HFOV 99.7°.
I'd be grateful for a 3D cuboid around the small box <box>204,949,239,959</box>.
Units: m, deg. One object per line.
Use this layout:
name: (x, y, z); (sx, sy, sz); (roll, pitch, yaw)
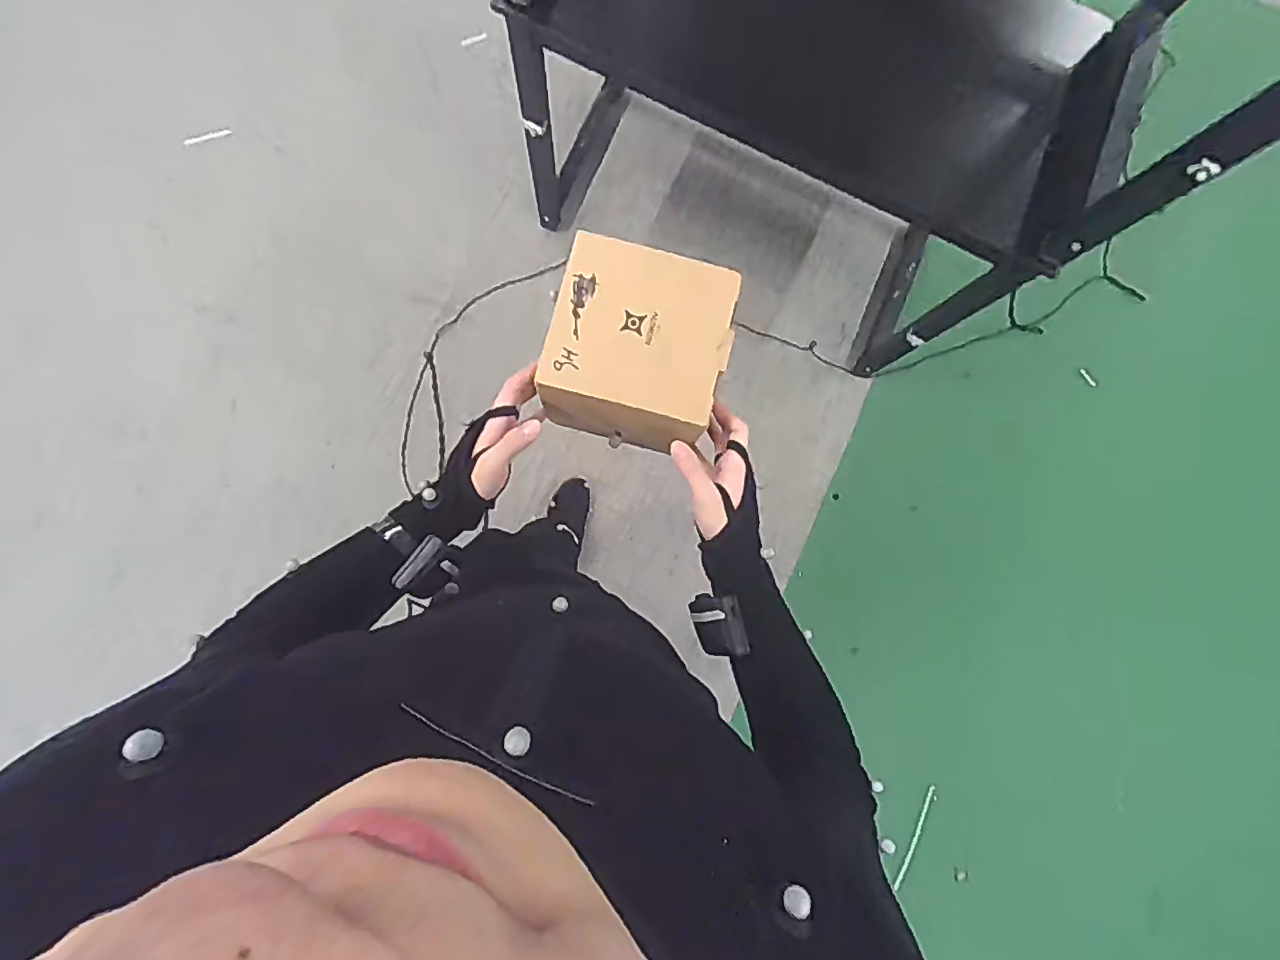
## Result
small box: (-1.032, 1.279, 1.278); (0.168, 0.176, 0.179); (29, 81, -2)
